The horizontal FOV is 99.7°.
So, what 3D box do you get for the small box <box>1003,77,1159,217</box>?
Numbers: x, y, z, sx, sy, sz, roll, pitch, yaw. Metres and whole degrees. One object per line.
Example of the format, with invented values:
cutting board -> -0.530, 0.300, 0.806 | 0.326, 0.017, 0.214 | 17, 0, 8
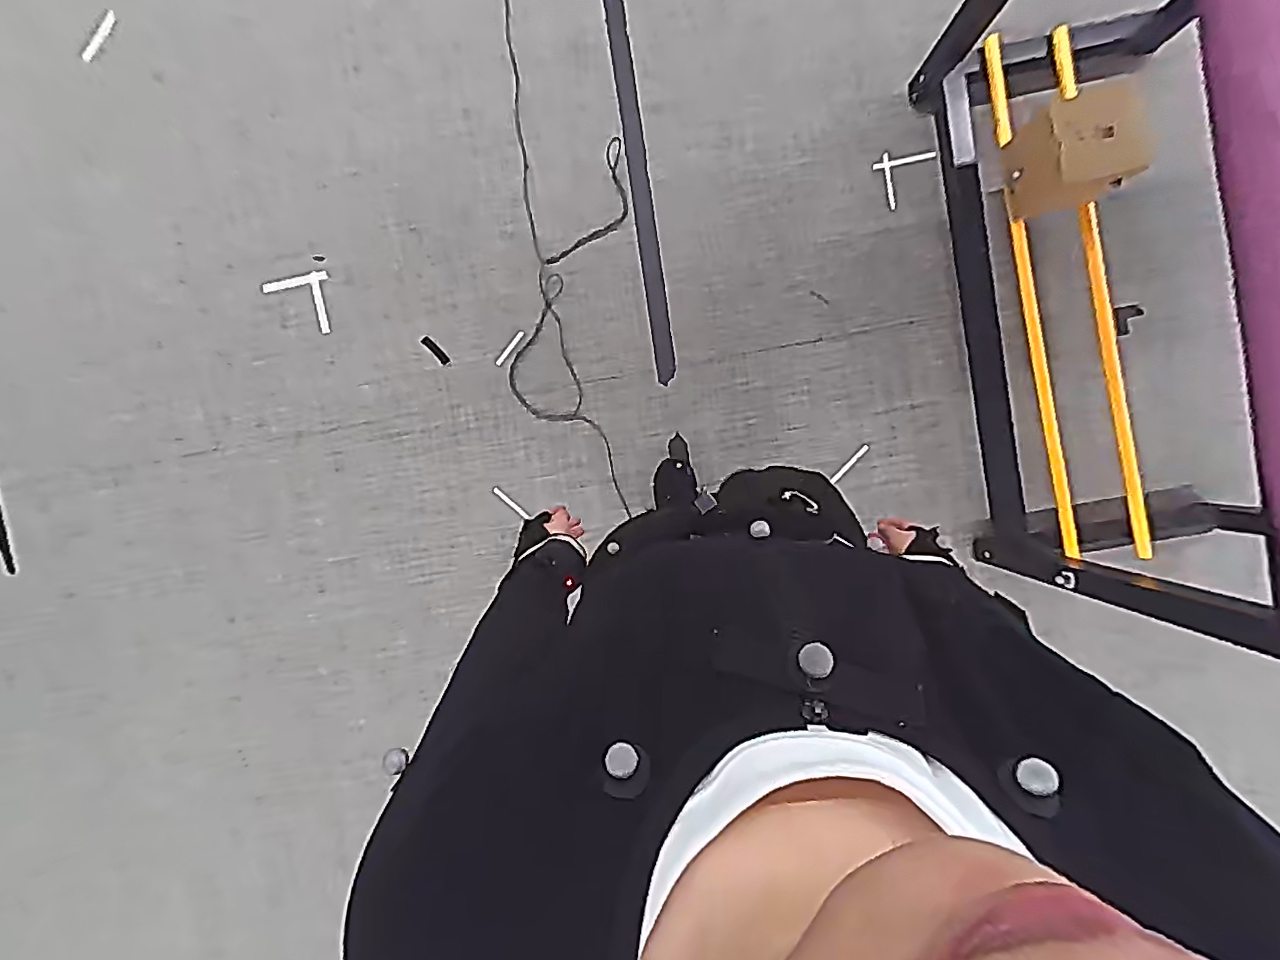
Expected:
small box -> 0.896, -0.673, 1.113 | 0.179, 0.176, 0.168 | -13, 92, 5
